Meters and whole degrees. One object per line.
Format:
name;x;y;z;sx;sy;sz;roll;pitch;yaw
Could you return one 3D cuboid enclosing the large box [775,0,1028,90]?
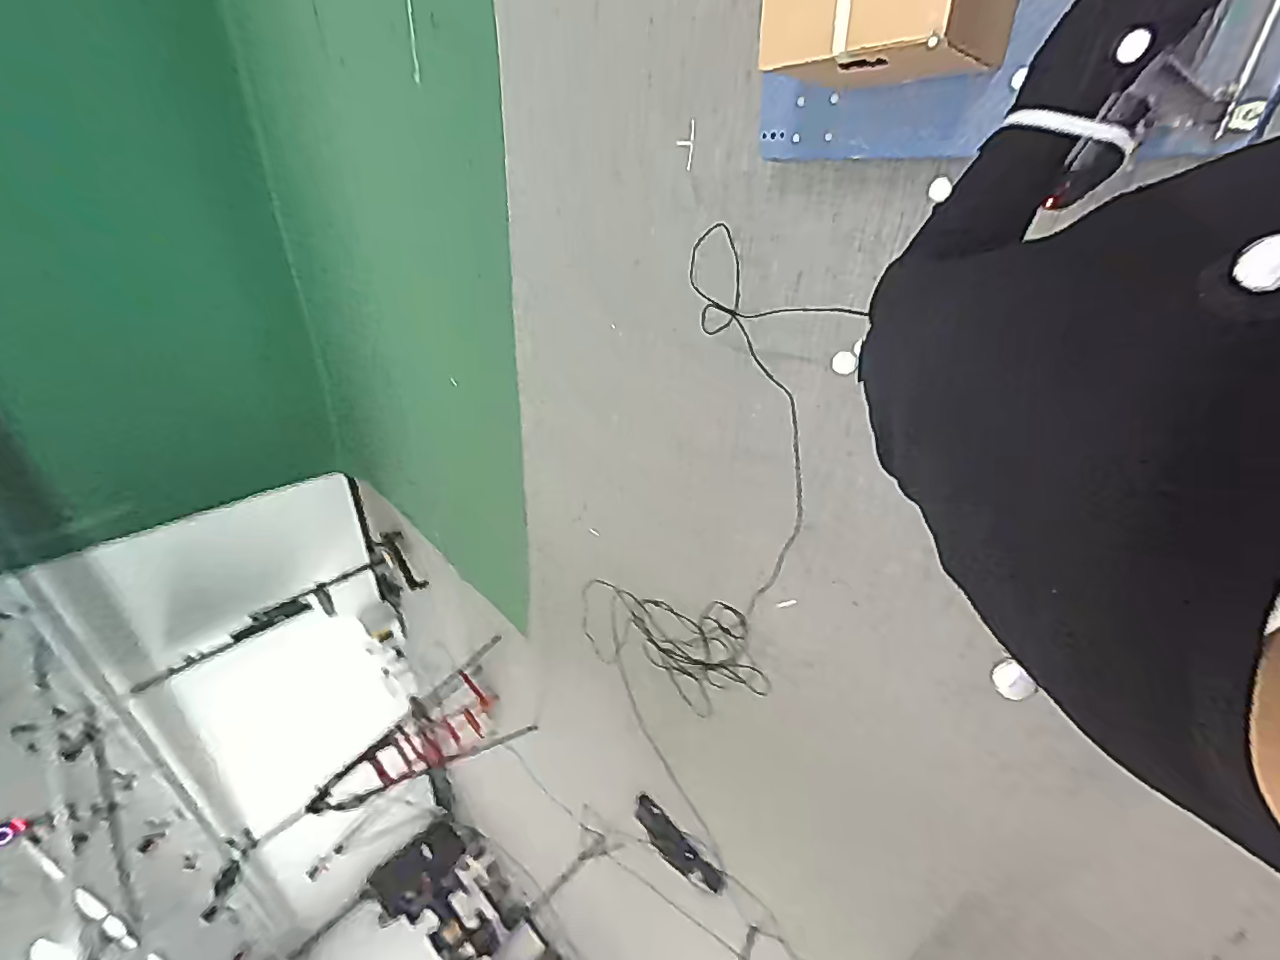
large box;0.442;-0.900;0.862;0.320;0.320;0.408;24;127;39
